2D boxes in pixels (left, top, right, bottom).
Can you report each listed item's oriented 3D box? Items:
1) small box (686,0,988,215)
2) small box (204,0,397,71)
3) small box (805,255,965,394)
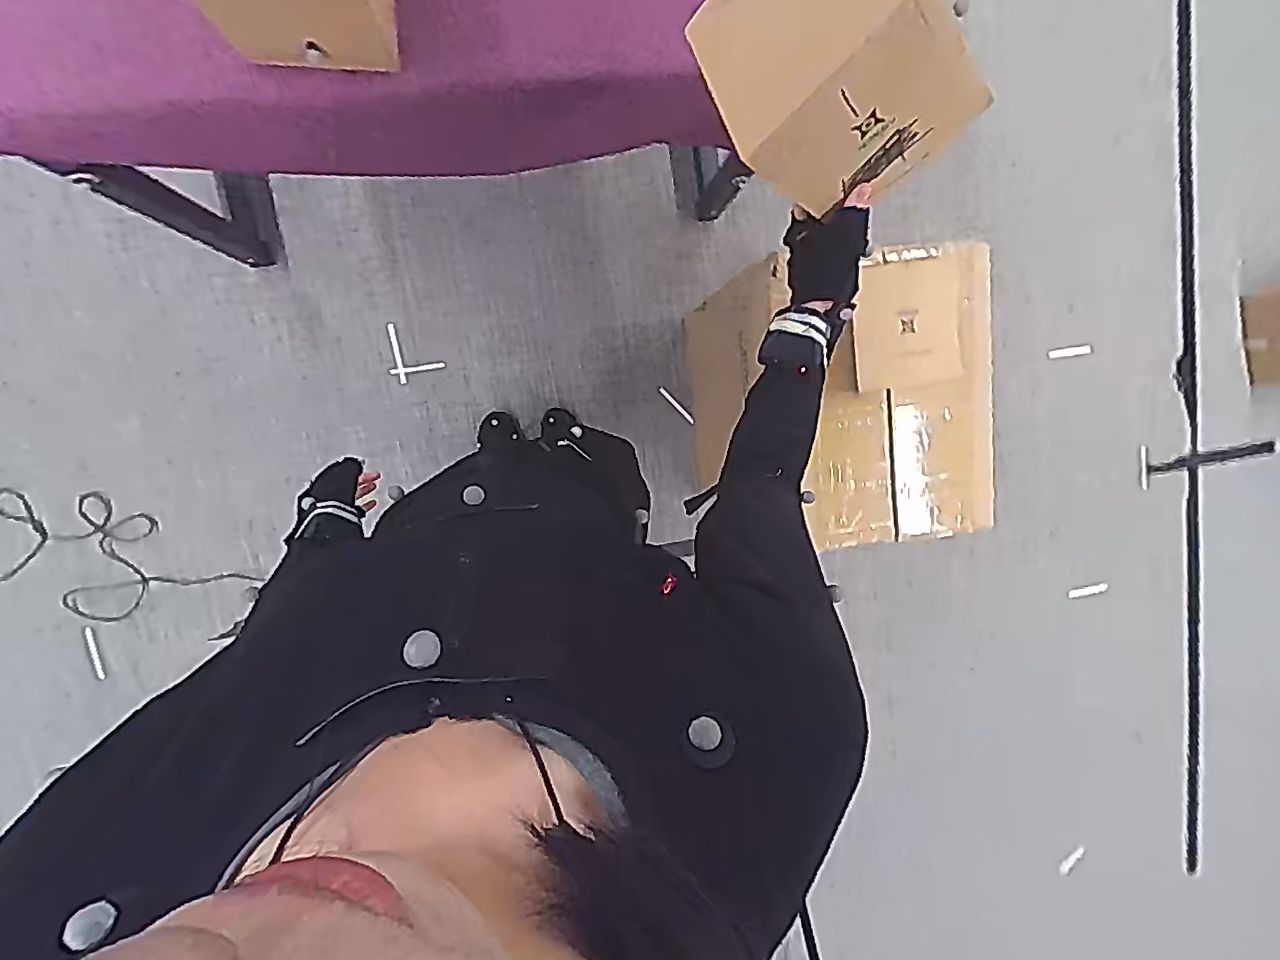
[{"bbox_3d":[0.172,-0.388,0.488,0.179,0.168,0.176,2,64,-44],"label":"small box"},{"bbox_3d":[-0.373,-0.581,0.581,0.179,0.176,0.168,-3,96,-9],"label":"small box"},{"bbox_3d":[0.371,-0.232,0.845,0.168,0.176,0.179,-9,99,-5],"label":"small box"}]
